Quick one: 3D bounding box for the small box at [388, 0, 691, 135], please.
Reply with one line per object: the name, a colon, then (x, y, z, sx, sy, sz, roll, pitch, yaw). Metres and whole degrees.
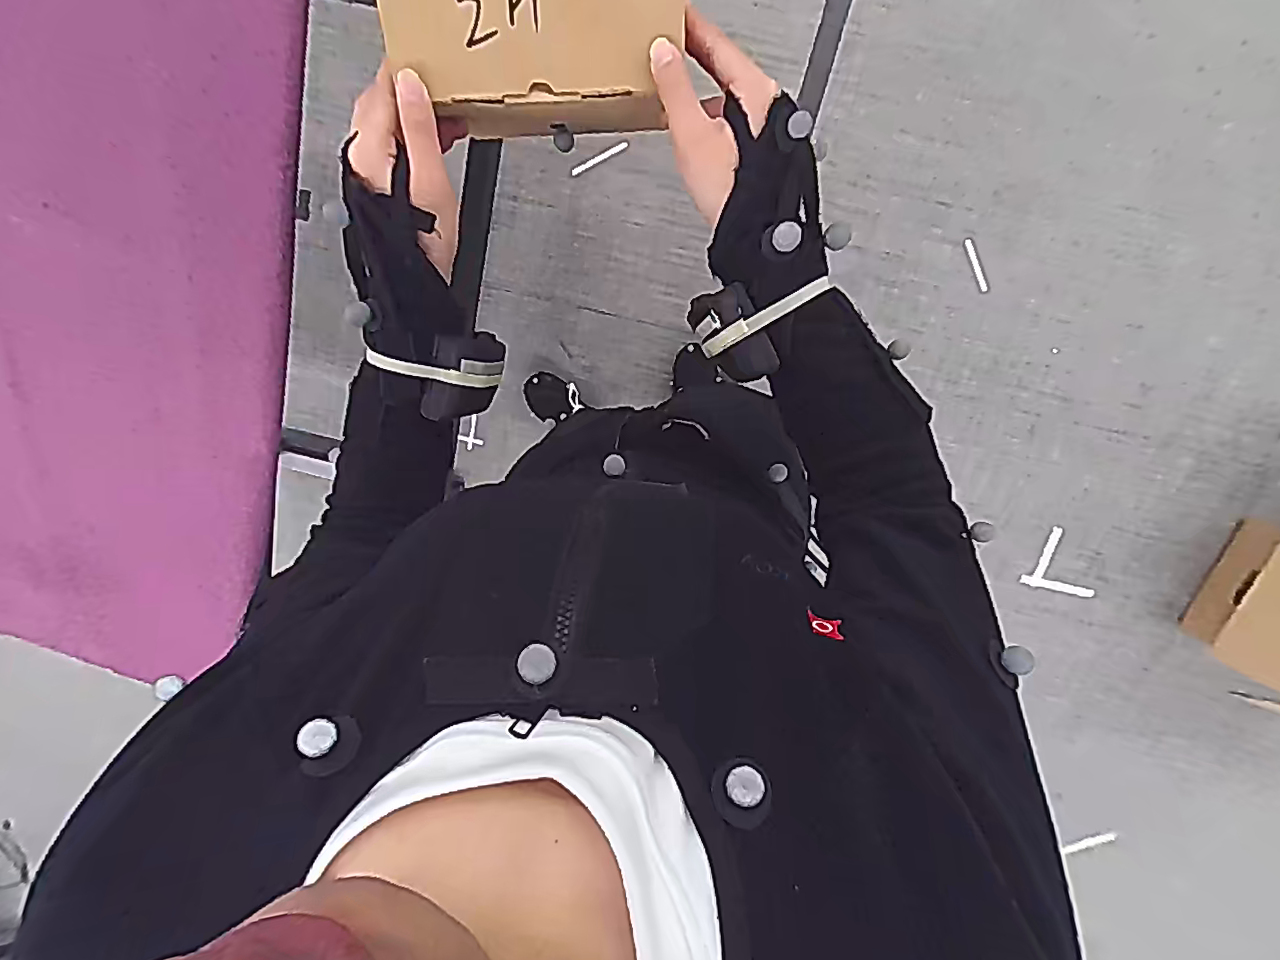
small box: (-0.056, -0.336, 0.343, 0.168, 0.176, 0.179, -2, 116, 0)
